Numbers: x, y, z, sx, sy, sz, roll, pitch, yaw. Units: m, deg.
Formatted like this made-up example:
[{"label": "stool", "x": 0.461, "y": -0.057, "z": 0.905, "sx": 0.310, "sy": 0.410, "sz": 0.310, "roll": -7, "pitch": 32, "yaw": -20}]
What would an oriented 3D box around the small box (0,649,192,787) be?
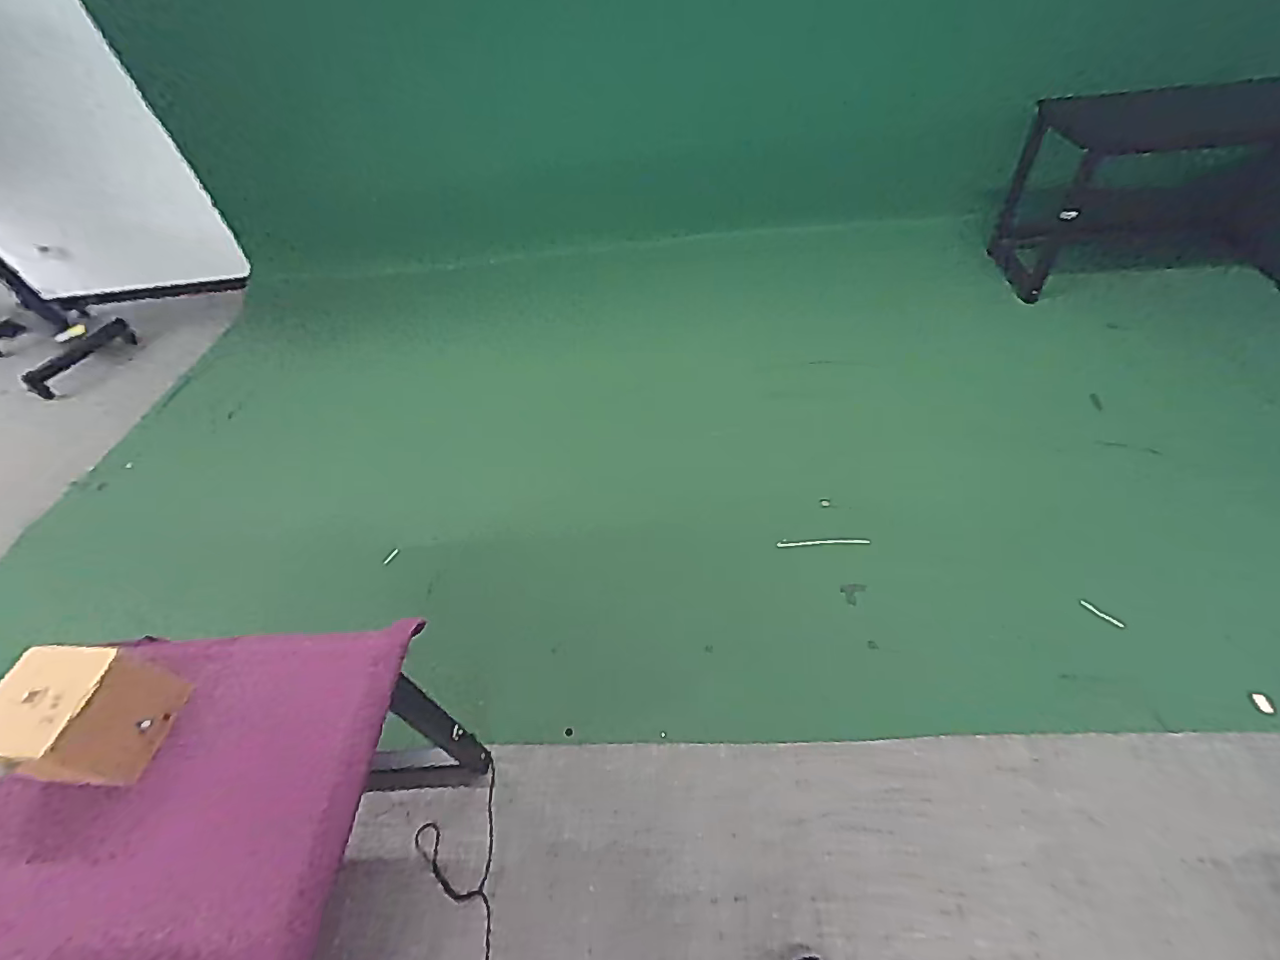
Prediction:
[{"label": "small box", "x": -0.914, "y": 0.393, "z": 0.889, "sx": 0.179, "sy": 0.176, "sz": 0.168, "roll": -1, "pitch": 49, "yaw": 8}]
